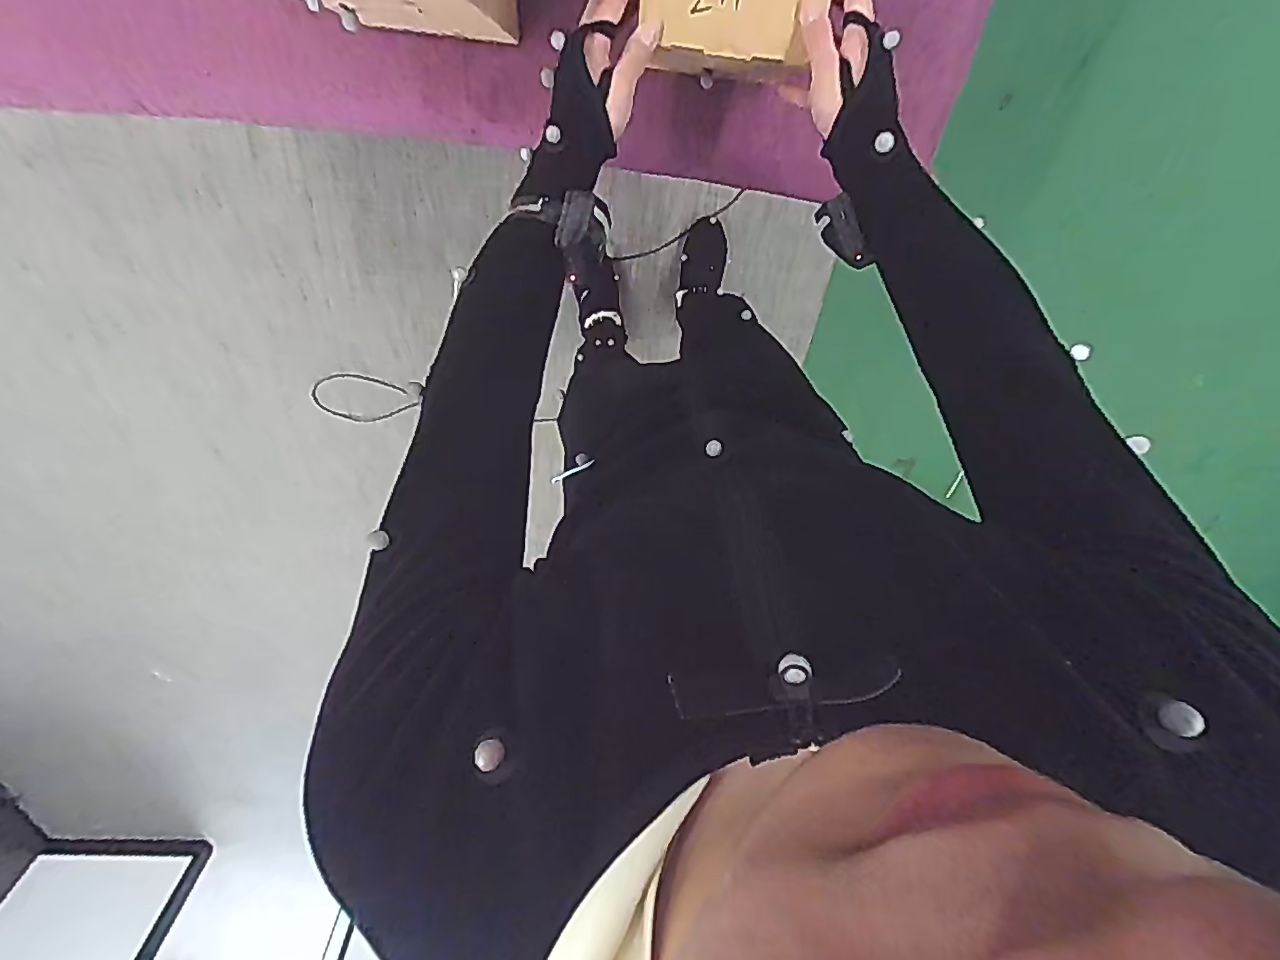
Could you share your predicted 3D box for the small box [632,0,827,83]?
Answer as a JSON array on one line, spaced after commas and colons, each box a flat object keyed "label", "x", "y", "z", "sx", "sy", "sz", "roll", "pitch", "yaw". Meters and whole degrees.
[{"label": "small box", "x": 0.082, "y": -0.495, "z": 0.505, "sx": 0.168, "sy": 0.176, "sz": 0.179, "roll": 5, "pitch": 123, "yaw": -5}]

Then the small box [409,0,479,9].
[{"label": "small box", "x": -0.199, "y": -0.430, "z": 0.339, "sx": 0.168, "sy": 0.176, "sz": 0.179, "roll": 4, "pitch": 121, "yaw": -5}]
